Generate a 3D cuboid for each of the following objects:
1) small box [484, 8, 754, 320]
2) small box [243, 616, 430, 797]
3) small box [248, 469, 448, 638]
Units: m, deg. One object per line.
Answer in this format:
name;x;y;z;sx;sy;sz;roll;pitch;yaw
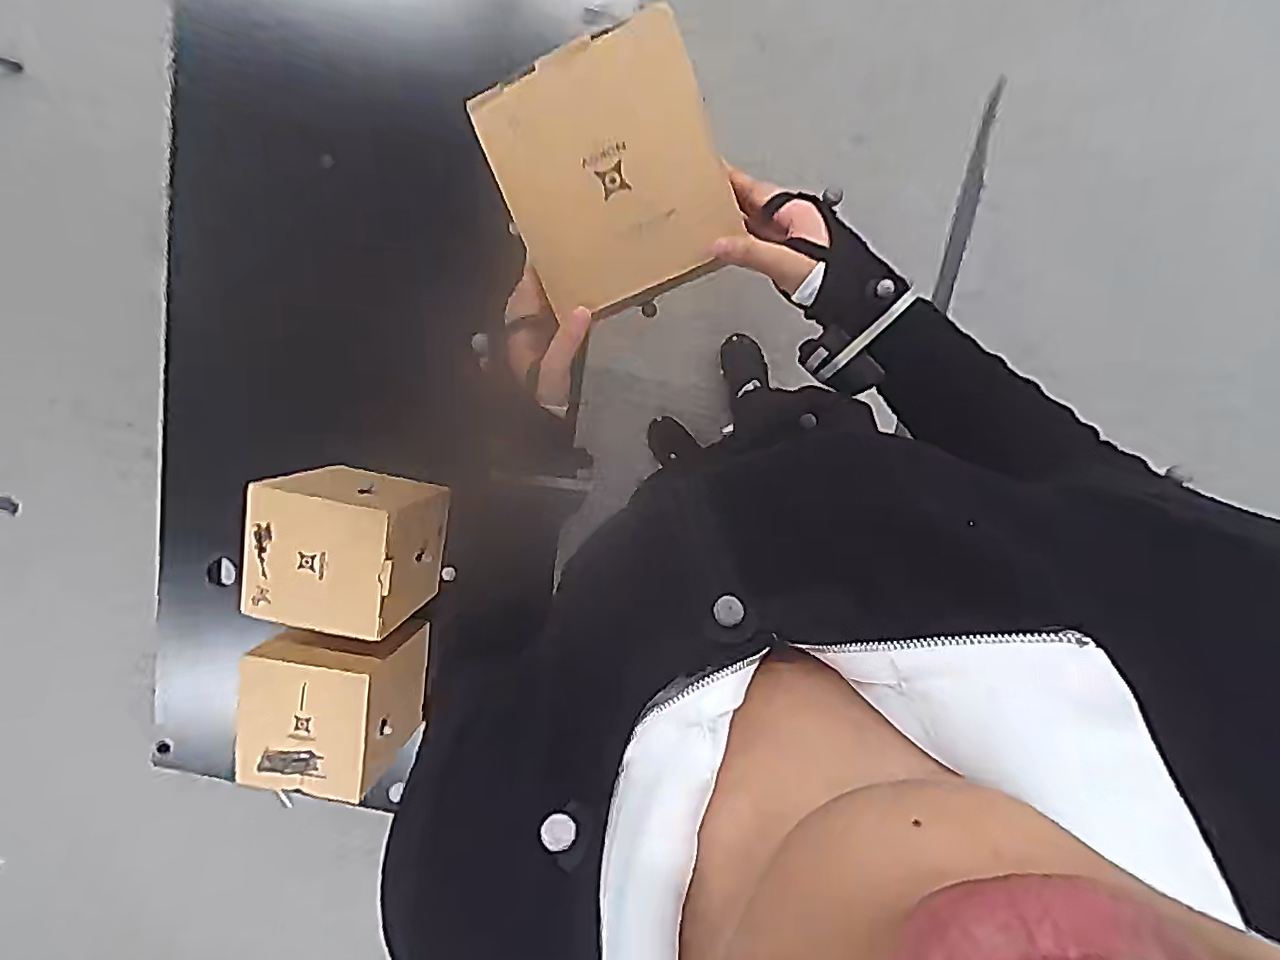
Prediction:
small box;-0.011;-0.257;0.493;0.168;0.176;0.179;-20;105;8
small box;-0.412;0.296;0.757;0.168;0.176;0.179;8;98;2
small box;-0.376;0.086;0.724;0.179;0.176;0.168;10;99;1
